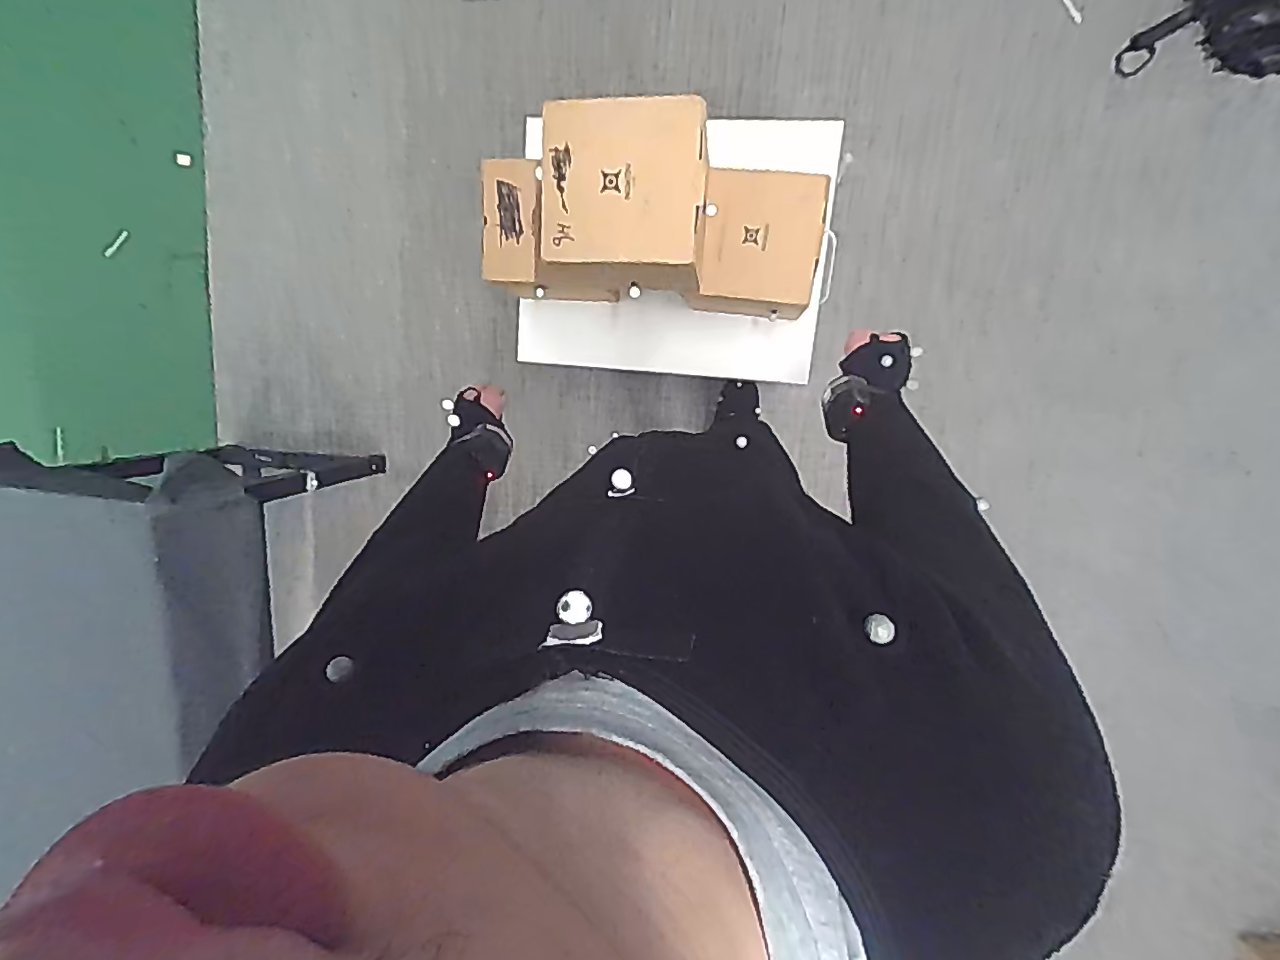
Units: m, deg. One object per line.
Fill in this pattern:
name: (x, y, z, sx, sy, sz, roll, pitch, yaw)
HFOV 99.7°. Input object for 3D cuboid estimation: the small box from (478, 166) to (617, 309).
small box: (-0.132, -0.364, 0.837, 0.179, 0.176, 0.168, 5, 100, 7)

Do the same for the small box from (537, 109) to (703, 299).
small box: (-0.015, -0.321, 0.658, 0.179, 0.176, 0.168, 4, 99, 7)

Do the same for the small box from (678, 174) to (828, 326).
small box: (0.161, -0.326, 0.795, 0.179, 0.176, 0.168, 9, 100, 9)
